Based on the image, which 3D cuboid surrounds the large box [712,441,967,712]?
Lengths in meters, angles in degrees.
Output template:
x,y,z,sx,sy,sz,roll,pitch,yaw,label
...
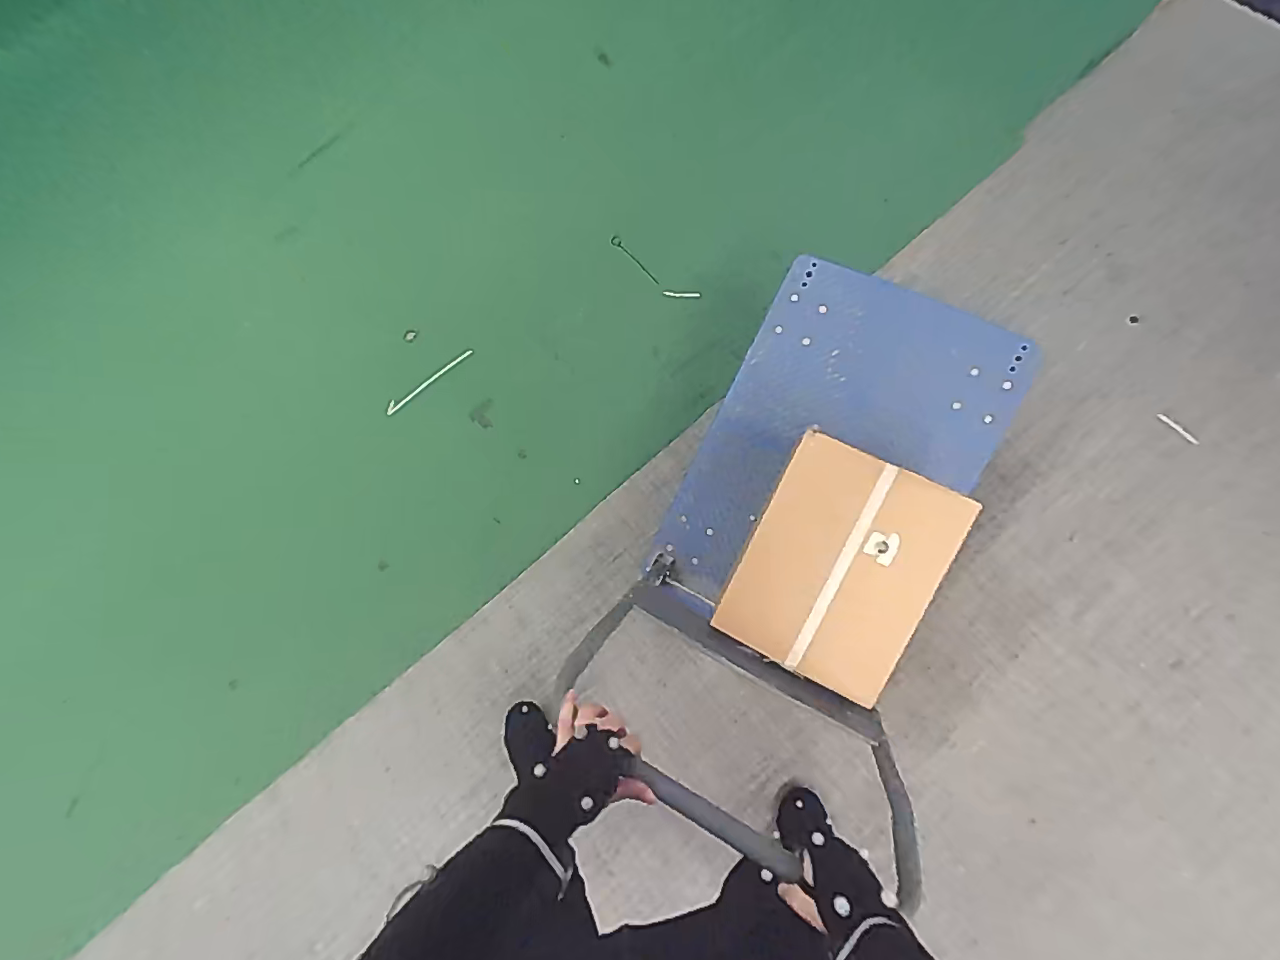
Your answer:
x,y,z,sx,sy,sz,roll,pitch,yaw,label
0.382,0.175,1.118,0.320,0.320,0.408,27,95,11,large box
